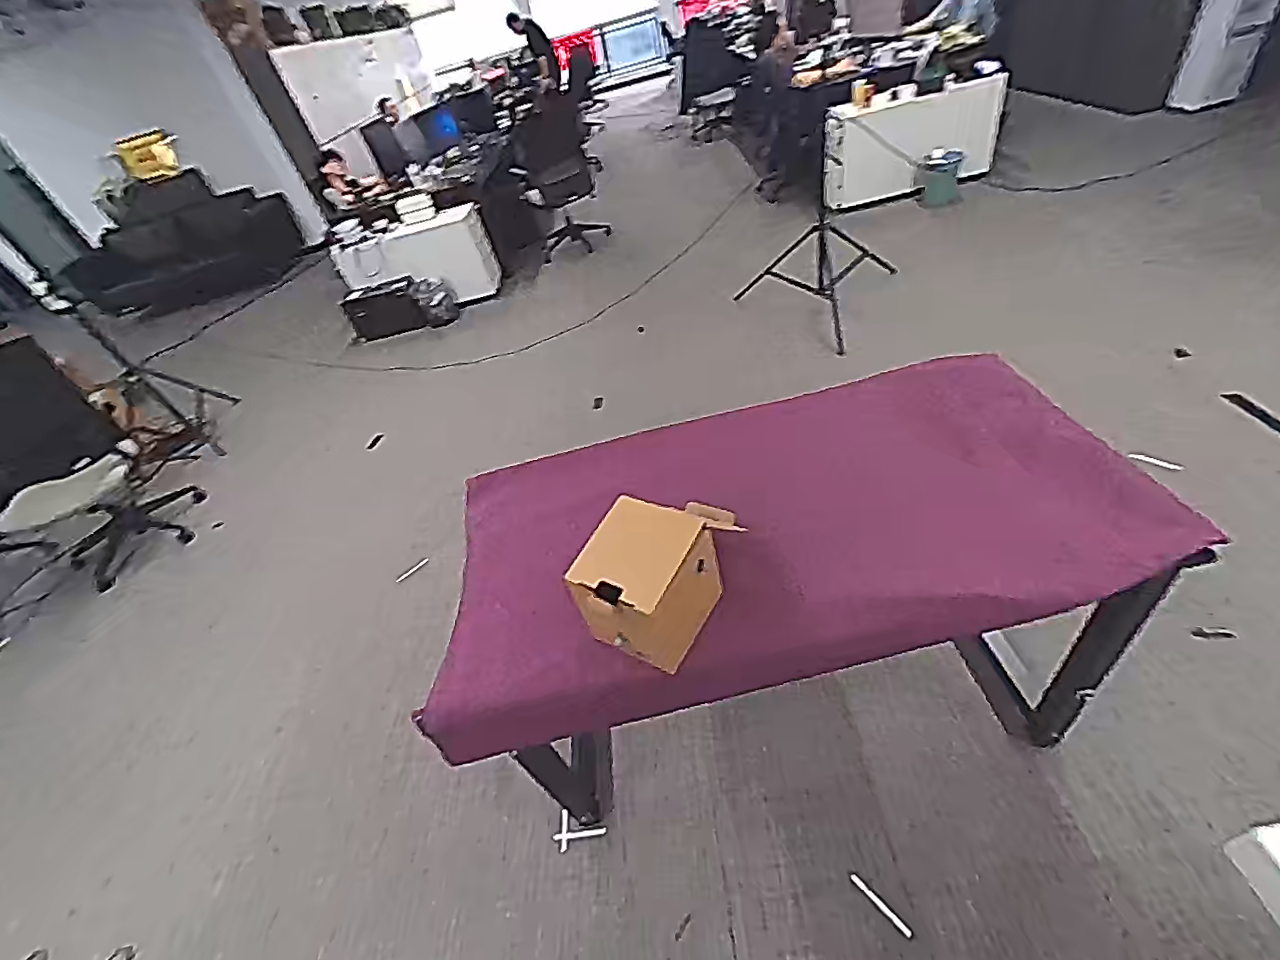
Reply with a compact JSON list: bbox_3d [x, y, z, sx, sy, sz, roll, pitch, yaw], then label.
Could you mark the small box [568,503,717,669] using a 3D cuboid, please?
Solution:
[{"bbox_3d":[0.015,0.170,0.886,0.168,0.176,0.179,15,49,33],"label":"small box"}]
